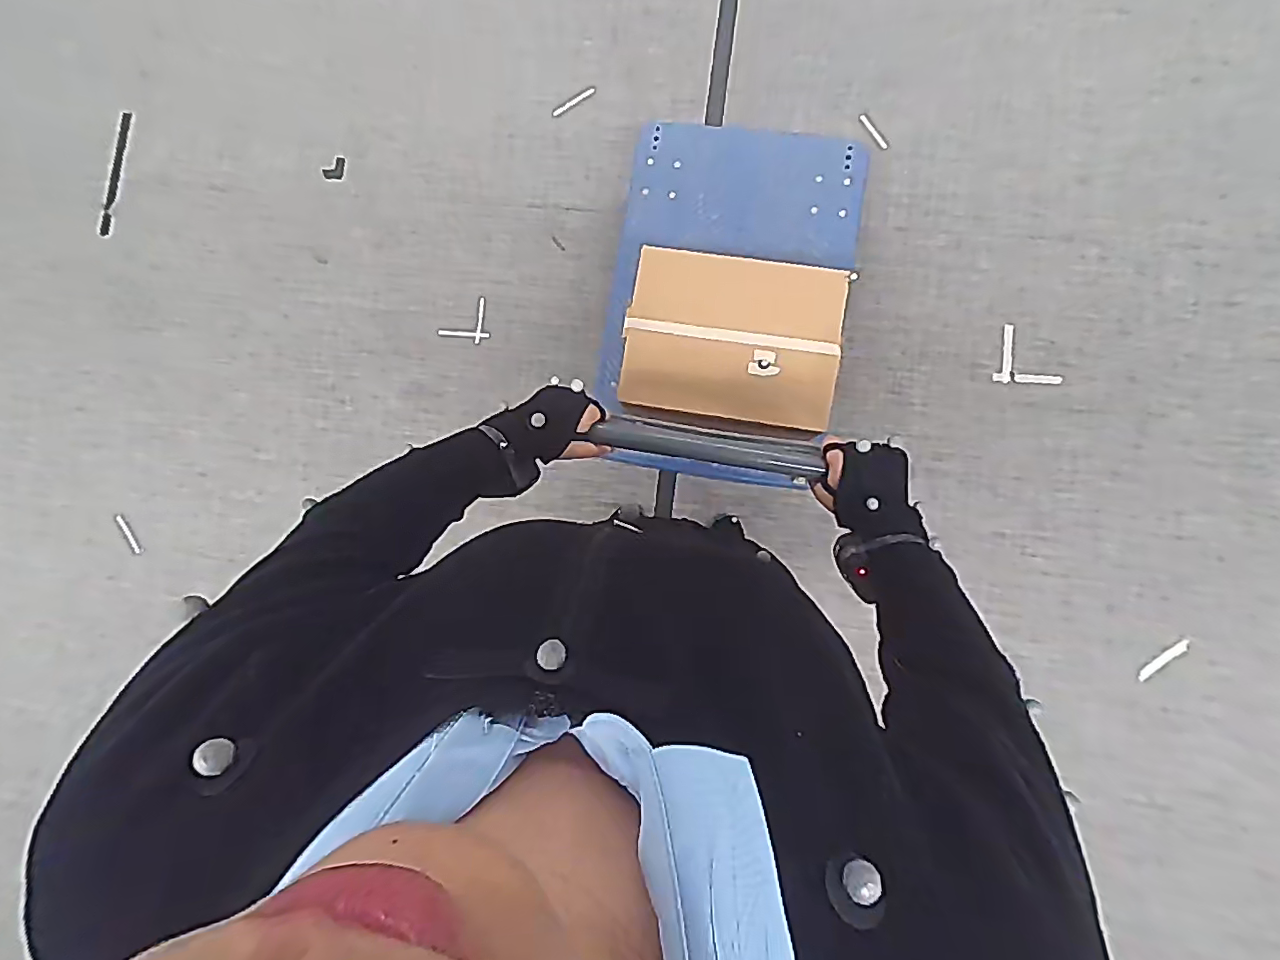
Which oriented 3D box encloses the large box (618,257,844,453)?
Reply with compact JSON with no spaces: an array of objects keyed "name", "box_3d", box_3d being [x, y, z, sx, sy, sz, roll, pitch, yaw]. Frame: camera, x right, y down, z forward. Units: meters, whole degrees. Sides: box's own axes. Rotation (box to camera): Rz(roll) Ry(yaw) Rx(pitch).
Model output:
[{"name":"large box","box_3d":[0.180,-0.250,1.185,0.408,0.320,0.320,9,88,4]}]
